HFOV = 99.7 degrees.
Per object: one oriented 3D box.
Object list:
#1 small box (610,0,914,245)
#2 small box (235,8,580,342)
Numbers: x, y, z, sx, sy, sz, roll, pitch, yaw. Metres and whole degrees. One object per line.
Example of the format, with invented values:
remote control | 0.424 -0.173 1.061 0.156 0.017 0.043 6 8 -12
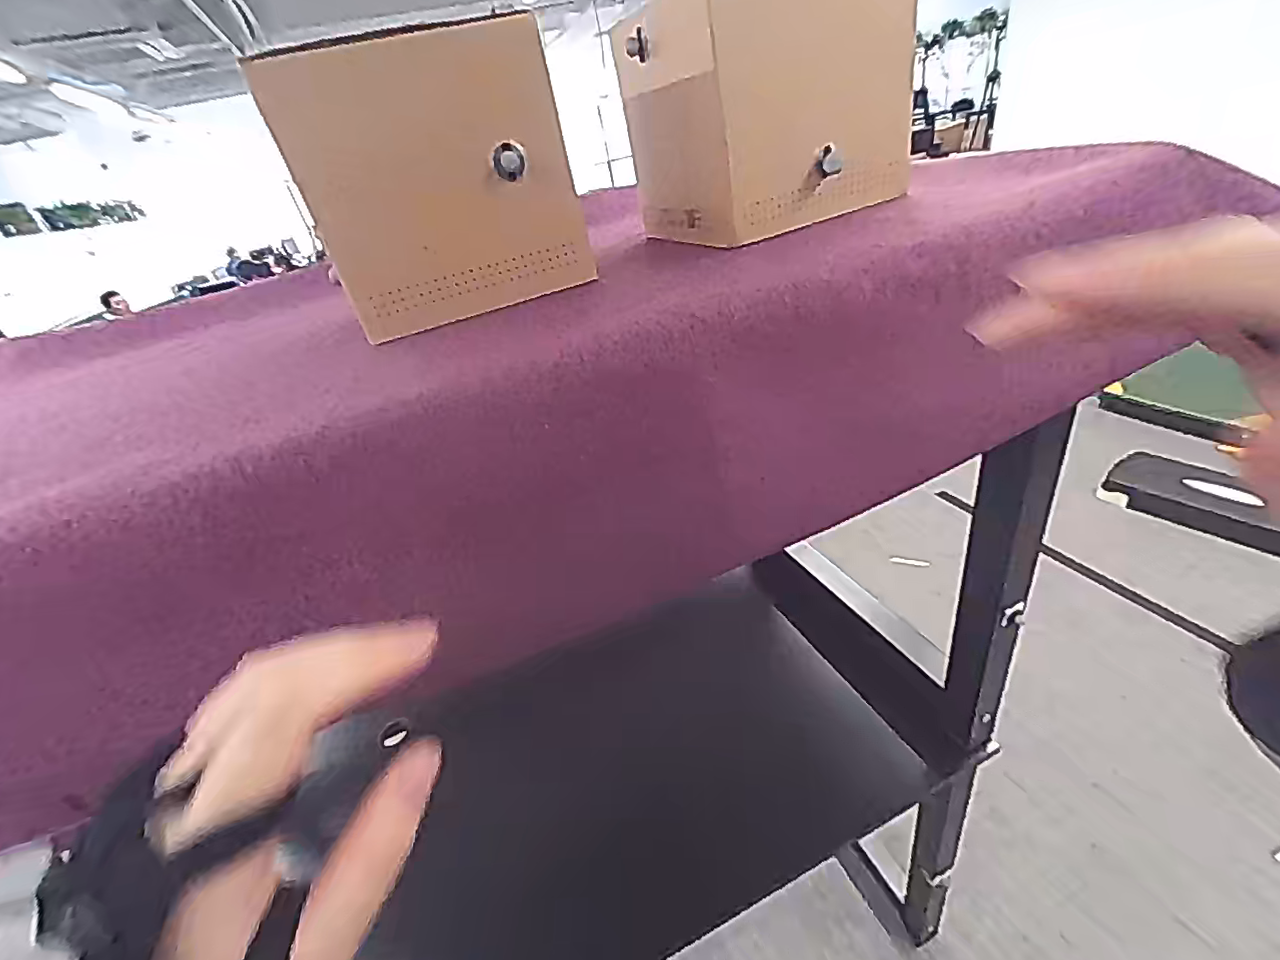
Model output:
small box | 0.097 -0.309 0.452 0.179 0.176 0.168 -23 32 -15
small box | -0.157 -0.226 0.420 0.179 0.176 0.168 -22 32 -13
